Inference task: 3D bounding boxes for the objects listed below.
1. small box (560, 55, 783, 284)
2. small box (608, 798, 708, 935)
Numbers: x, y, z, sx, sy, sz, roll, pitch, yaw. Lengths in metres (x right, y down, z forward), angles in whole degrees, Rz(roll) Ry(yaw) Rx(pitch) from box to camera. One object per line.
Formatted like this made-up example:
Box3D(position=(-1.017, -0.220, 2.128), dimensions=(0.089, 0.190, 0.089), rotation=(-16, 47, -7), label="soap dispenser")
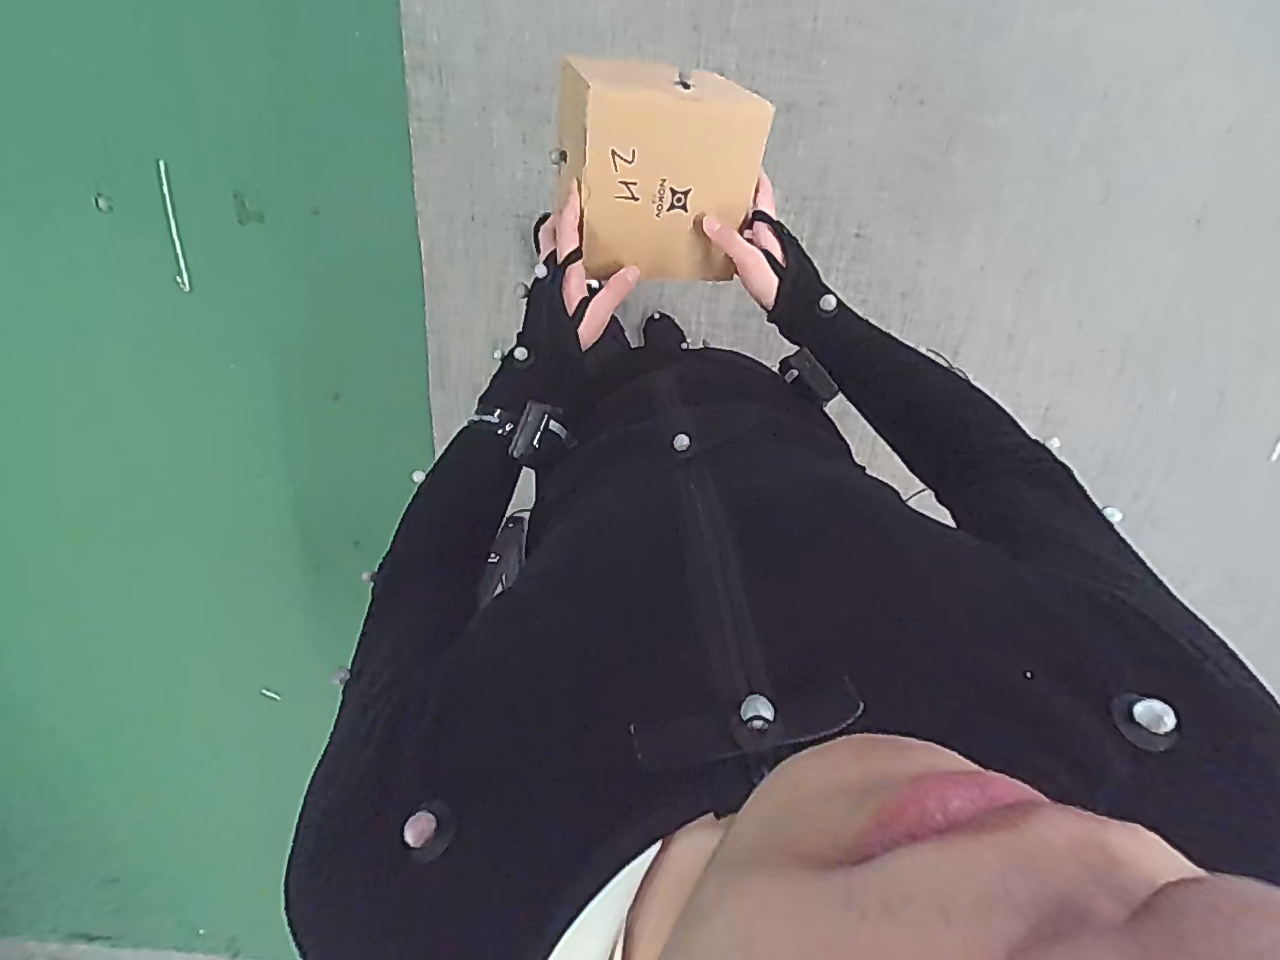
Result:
Box3D(position=(0.017, -0.326, 0.572), dimensions=(0.179, 0.176, 0.168), rotation=(-3, 135, -15), label="small box")
Box3D(position=(0.038, 0.793, 1.127), dimensions=(0.168, 0.176, 0.179), rotation=(-14, 111, 7), label="small box")
